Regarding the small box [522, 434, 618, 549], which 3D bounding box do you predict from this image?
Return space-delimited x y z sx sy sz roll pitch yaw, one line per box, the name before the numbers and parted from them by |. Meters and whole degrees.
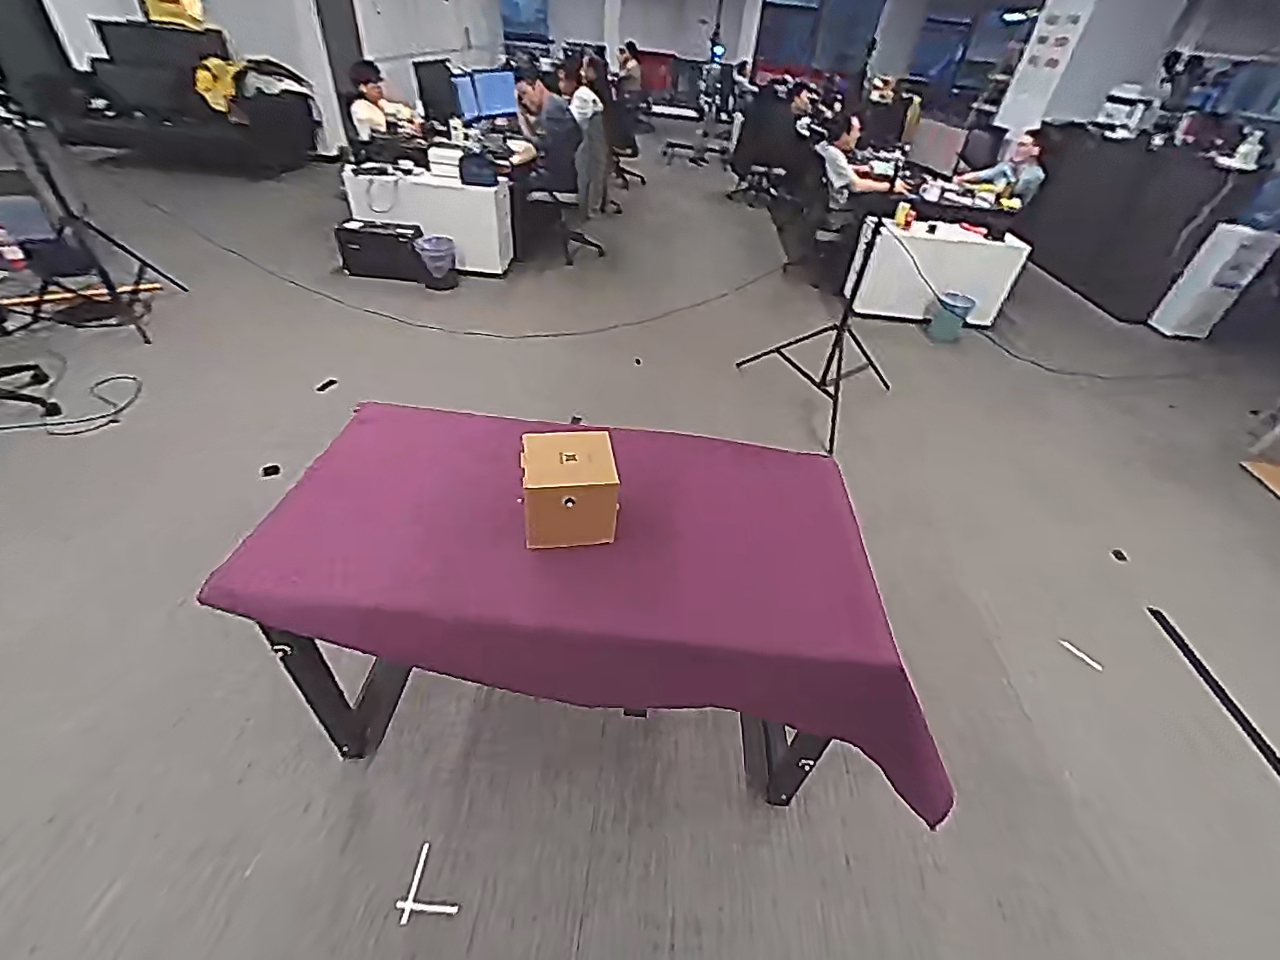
small box | -0.143 0.024 1.096 0.179 0.176 0.168 -3 42 -11
